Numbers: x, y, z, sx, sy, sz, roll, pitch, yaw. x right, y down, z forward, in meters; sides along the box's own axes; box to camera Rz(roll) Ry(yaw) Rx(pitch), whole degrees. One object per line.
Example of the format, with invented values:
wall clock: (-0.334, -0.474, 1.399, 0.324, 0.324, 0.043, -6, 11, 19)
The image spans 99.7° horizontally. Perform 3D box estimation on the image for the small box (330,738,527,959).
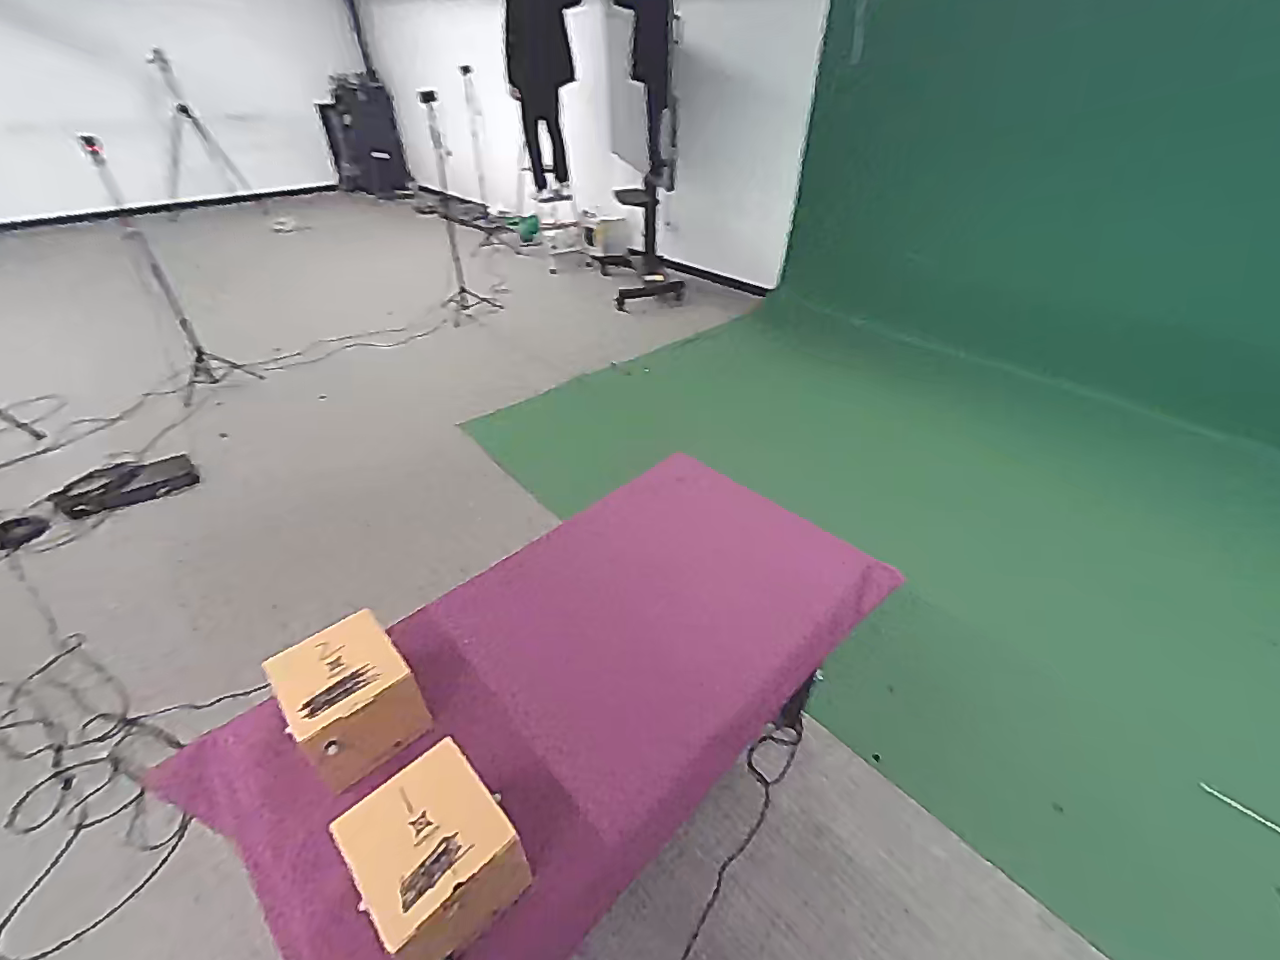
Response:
small box: (-0.267, 0.493, 0.712, 0.168, 0.176, 0.179, -30, 47, -34)
